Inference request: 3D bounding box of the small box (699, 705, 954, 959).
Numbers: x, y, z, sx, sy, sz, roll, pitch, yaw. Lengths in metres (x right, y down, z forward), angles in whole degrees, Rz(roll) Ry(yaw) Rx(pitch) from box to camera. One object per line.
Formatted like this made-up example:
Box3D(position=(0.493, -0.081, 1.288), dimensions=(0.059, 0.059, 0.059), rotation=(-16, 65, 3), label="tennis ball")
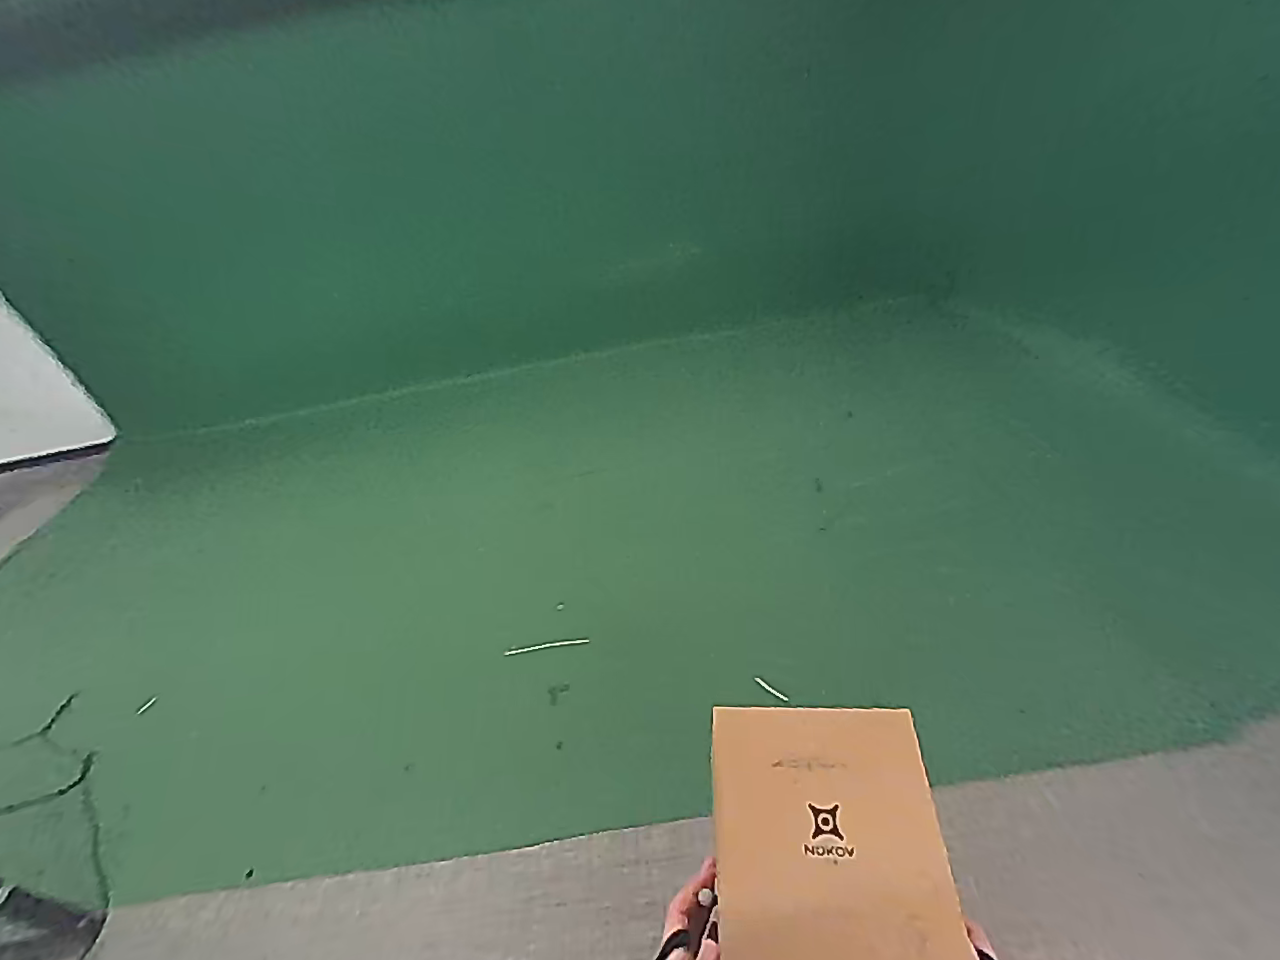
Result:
Box3D(position=(0.136, 0.311, 0.464), dimensions=(0.168, 0.176, 0.179), rotation=(-1, 49, 6), label="small box")
